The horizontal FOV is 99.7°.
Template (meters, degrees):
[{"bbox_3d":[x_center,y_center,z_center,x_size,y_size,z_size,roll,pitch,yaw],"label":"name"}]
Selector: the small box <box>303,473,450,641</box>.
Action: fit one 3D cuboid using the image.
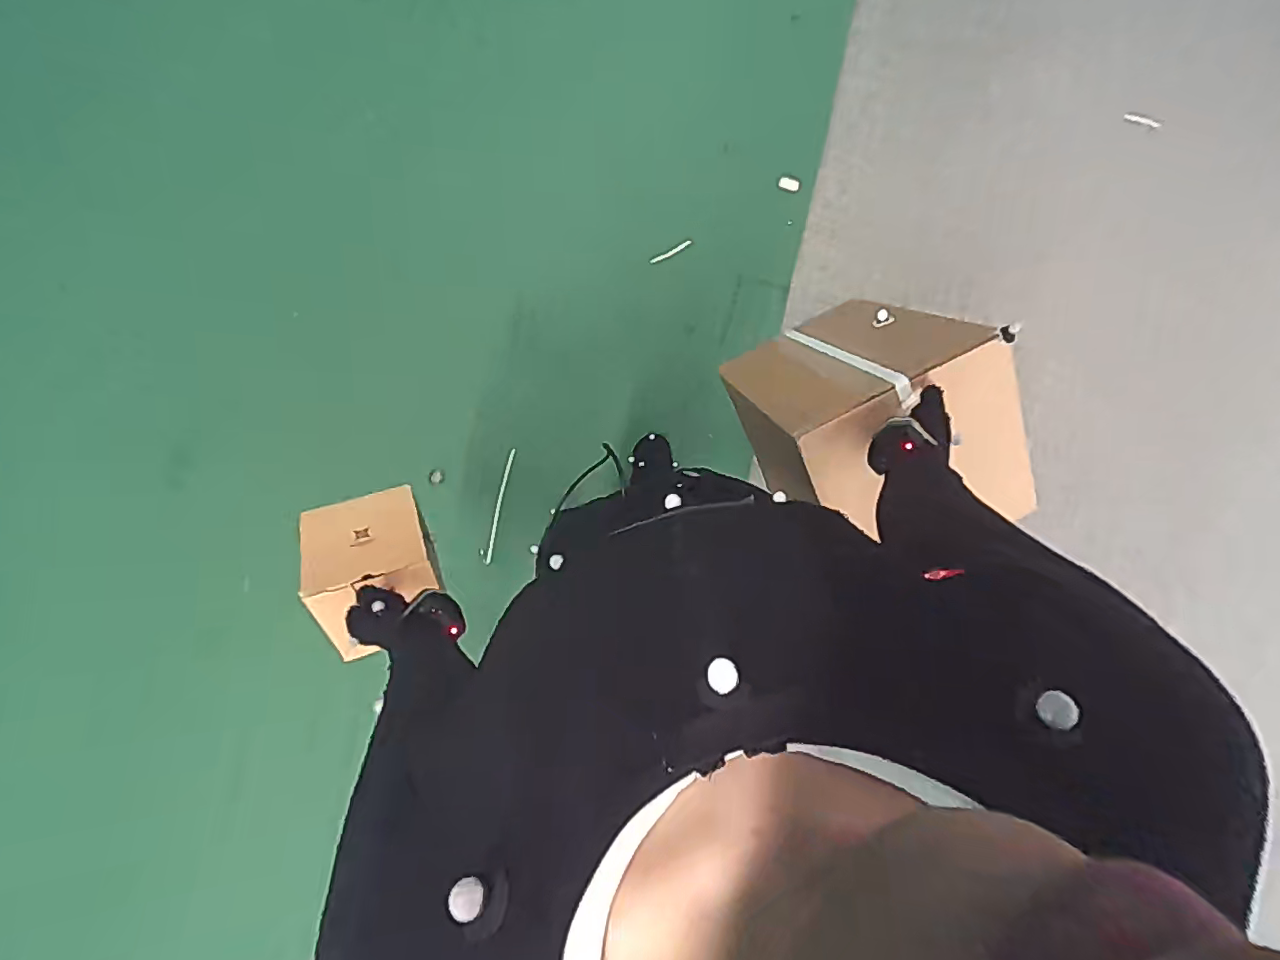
[{"bbox_3d":[-0.417,0.122,0.865,0.168,0.179,0.176,-17,137,-19],"label":"small box"}]
